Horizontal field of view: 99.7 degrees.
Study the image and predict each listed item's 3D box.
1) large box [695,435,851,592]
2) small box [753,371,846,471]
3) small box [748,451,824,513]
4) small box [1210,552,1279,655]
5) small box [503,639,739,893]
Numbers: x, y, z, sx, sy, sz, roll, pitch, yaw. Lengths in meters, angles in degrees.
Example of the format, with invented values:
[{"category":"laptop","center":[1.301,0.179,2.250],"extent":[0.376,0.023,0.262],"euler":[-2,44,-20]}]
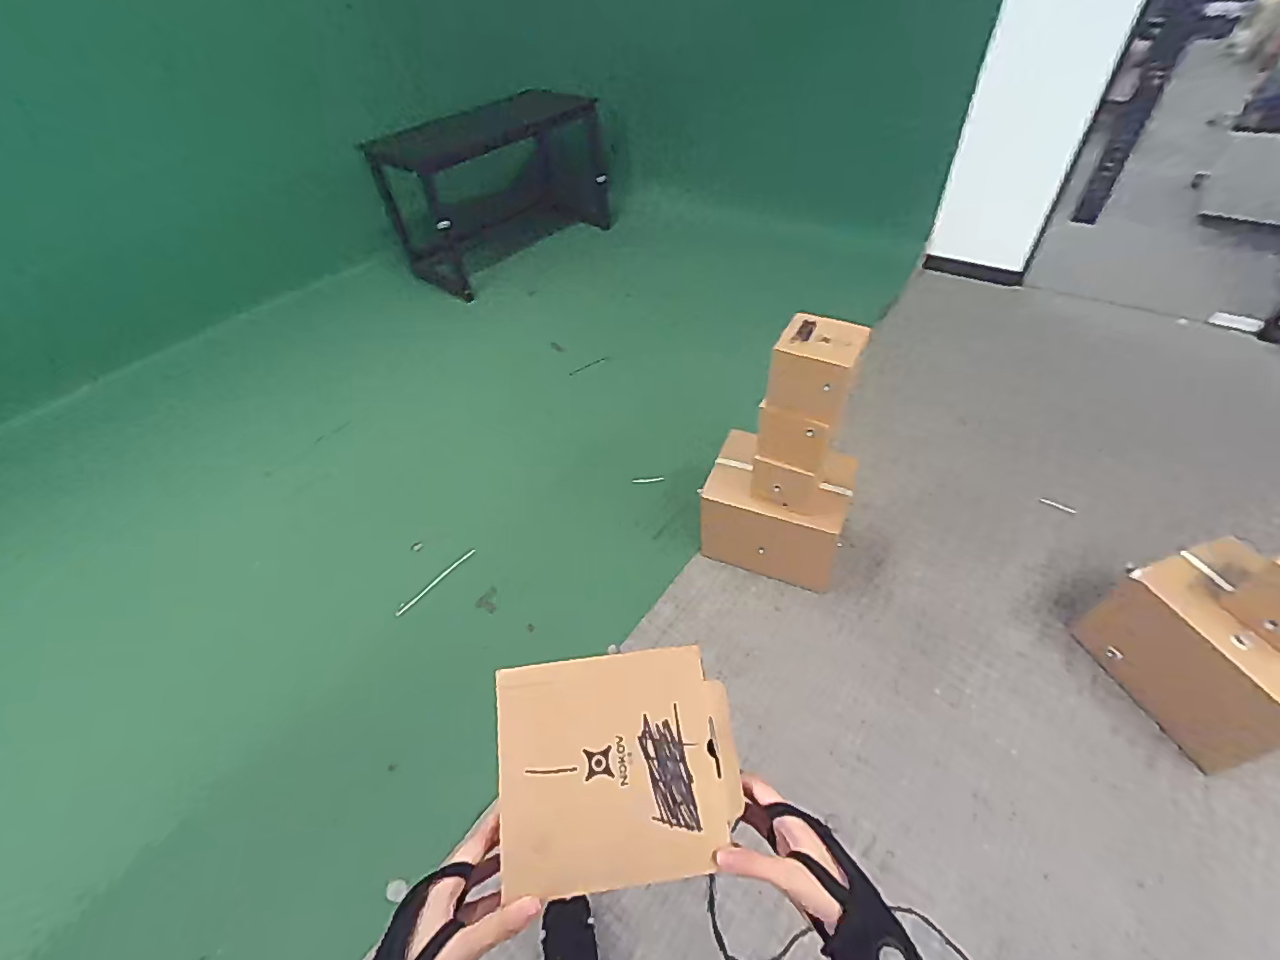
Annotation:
[{"category":"large box","center":[0.417,0.103,1.714],"extent":[0.408,0.320,0.320],"euler":[15,49,20]},{"category":"small box","center":[0.404,-0.149,1.391],"extent":[0.179,0.176,0.168],"euler":[22,53,23]},{"category":"small box","center":[0.409,-0.036,1.508],"extent":[0.168,0.176,0.179],"euler":[20,53,22]},{"category":"small box","center":[1.398,0.254,1.139],"extent":[0.168,0.176,0.179],"euler":[-18,49,-13]},{"category":"small box","center":[-0.023,0.248,0.498],"extent":[0.179,0.176,0.168],"euler":[-6,65,-4]}]
